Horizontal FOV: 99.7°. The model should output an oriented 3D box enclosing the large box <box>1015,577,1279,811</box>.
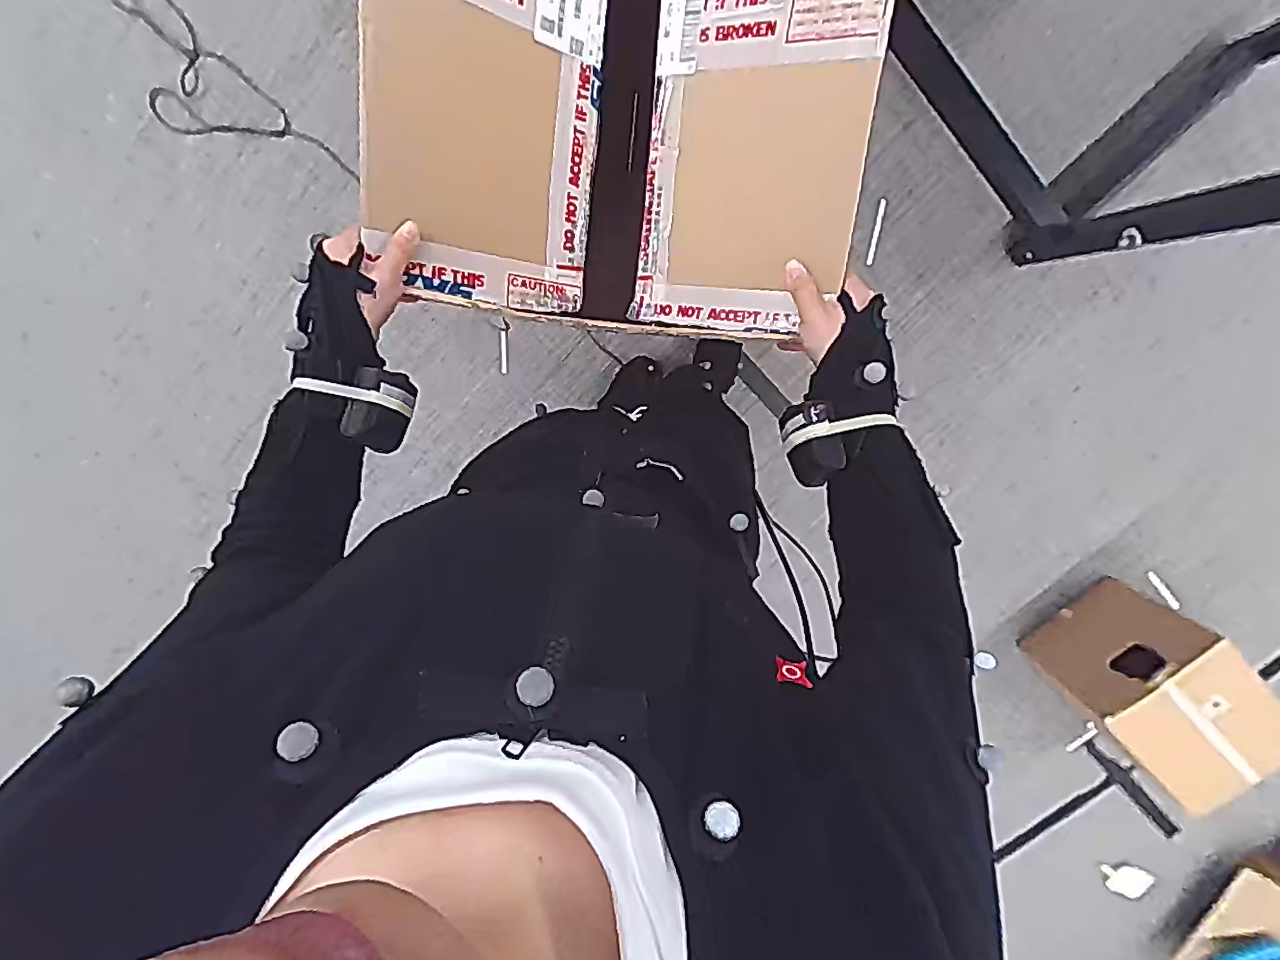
[{"bbox_3d":[1.298,0.531,1.388,0.408,0.320,0.320,43,101,-10],"label":"large box"}]
